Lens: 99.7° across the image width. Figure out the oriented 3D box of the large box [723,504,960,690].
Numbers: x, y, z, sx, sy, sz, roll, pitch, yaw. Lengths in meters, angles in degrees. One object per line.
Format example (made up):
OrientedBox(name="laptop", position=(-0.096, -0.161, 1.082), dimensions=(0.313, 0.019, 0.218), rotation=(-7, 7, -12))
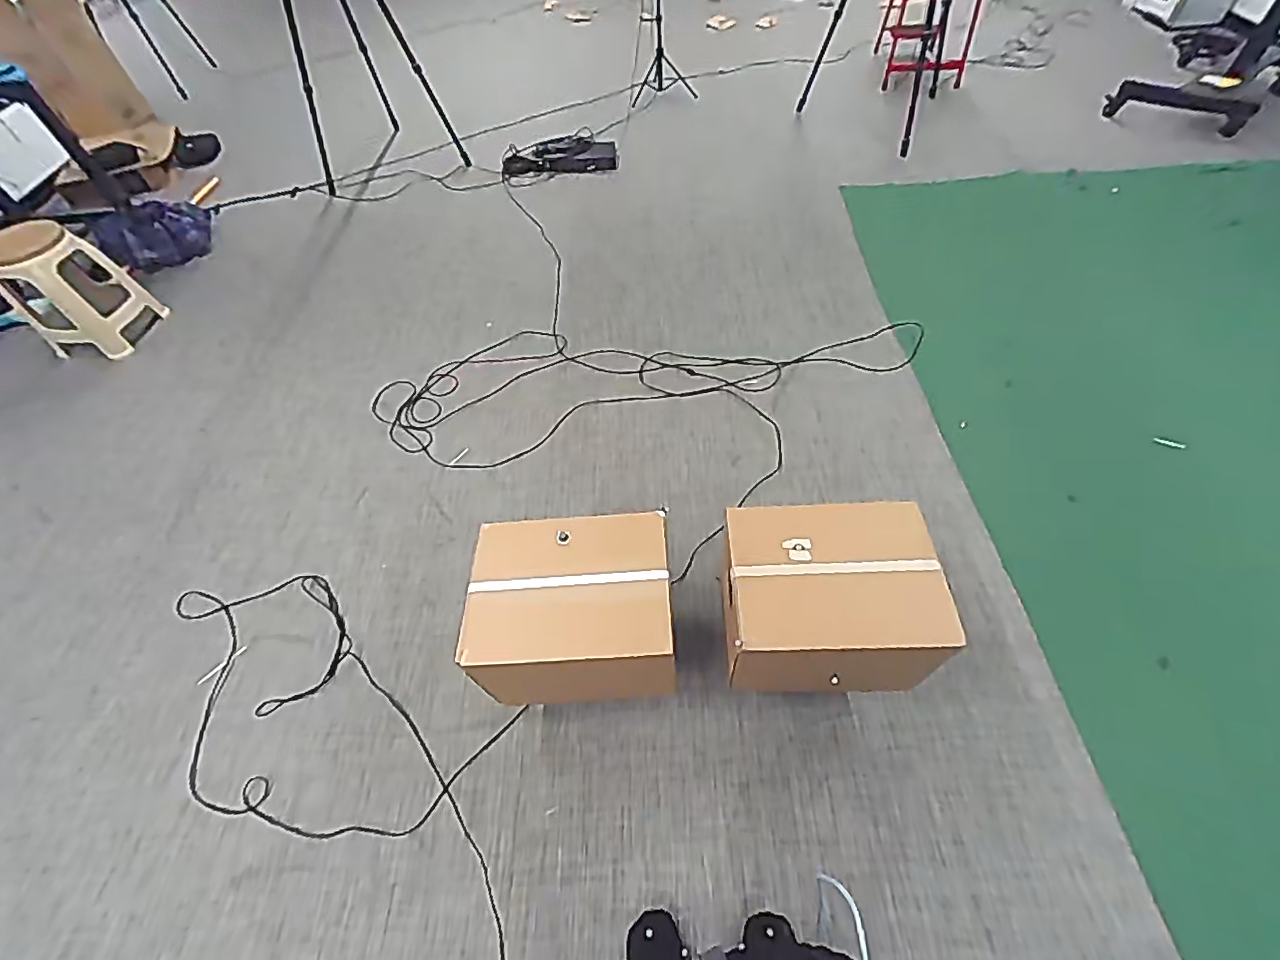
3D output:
OrientedBox(name="large box", position=(0.403, 0.272, 1.204), dimensions=(0.408, 0.320, 0.320), rotation=(-2, 54, 4))
